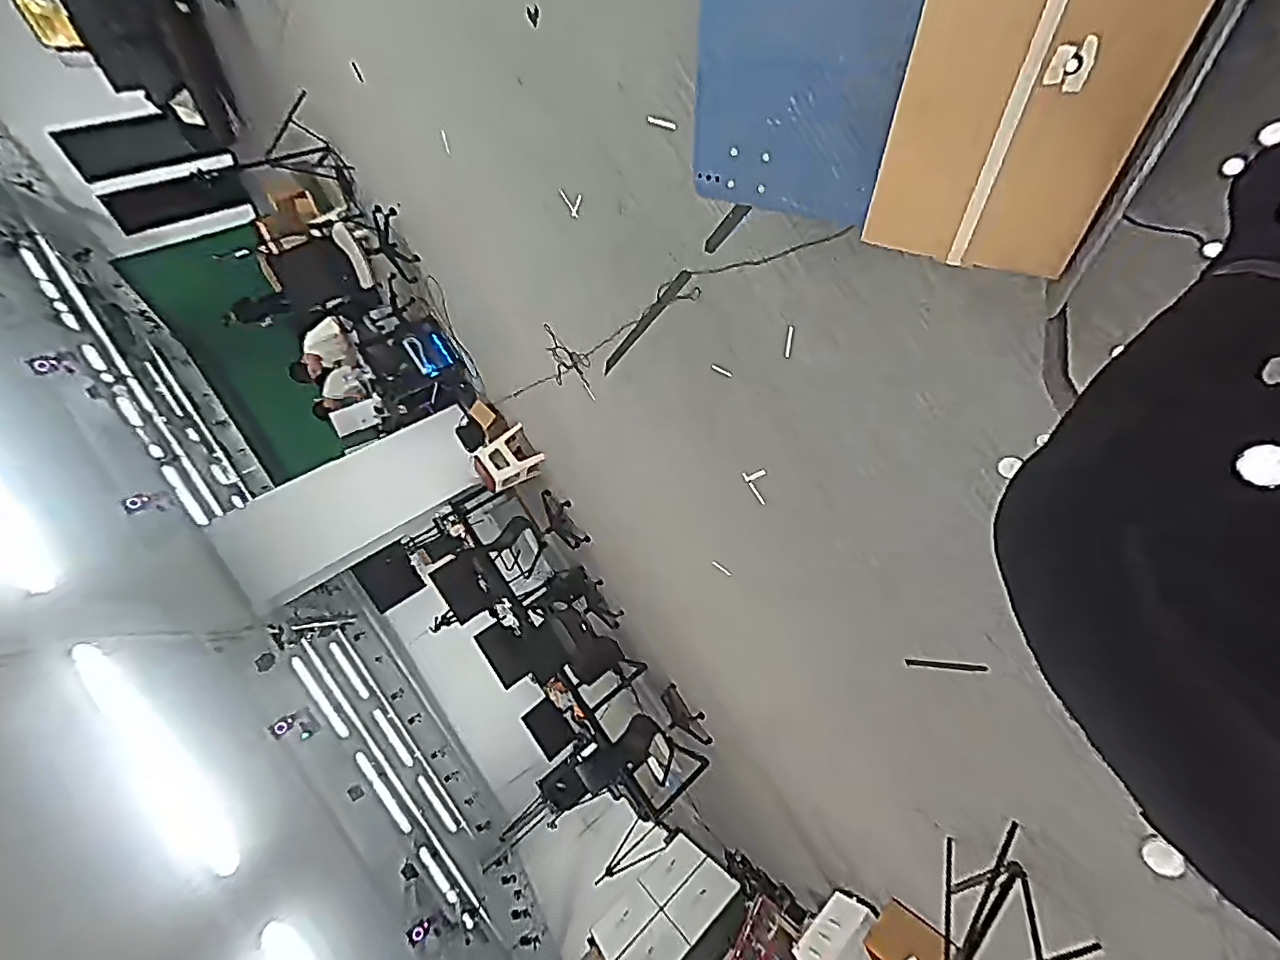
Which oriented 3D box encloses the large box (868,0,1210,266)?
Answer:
[{"bbox_3d":[0.604,-0.614,0.848,0.320,0.320,0.408,22,140,22],"label":"large box"}]
